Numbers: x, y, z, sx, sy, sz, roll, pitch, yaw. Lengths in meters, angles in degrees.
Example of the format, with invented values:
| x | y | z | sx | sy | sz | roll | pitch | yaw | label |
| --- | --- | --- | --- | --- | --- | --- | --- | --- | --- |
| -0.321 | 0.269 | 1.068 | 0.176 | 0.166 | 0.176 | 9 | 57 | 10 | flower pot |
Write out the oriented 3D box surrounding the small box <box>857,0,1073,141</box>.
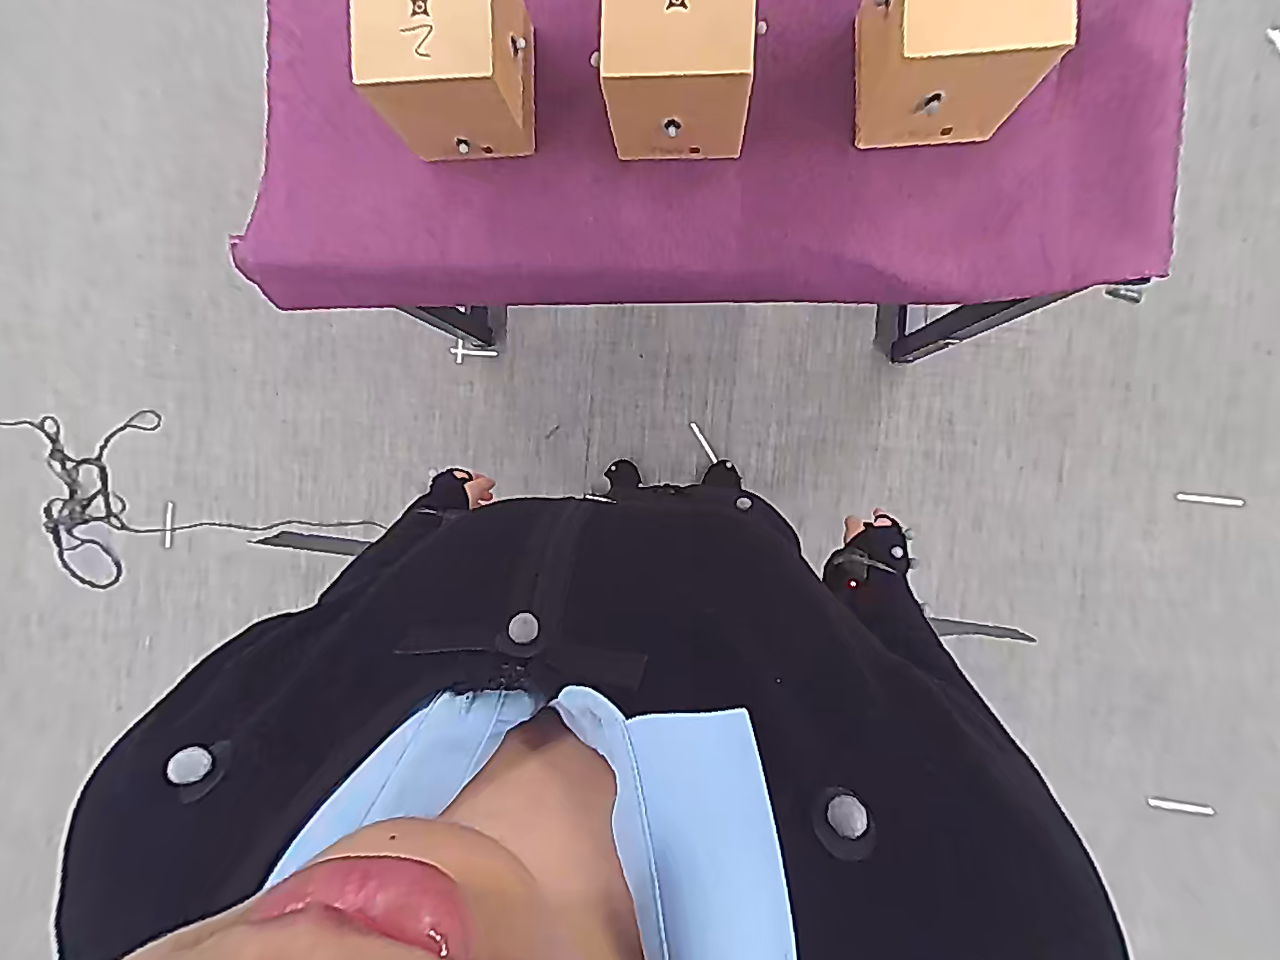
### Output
| x | y | z | sx | sy | sz | roll | pitch | yaw | label |
| --- | --- | --- | --- | --- | --- | --- | --- | --- | --- |
| 0.360 | -0.521 | 0.626 | 0.168 | 0.176 | 0.179 | 0 | 91 | 6 | small box |

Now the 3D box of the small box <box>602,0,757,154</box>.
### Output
| x | y | z | sx | sy | sz | roll | pitch | yaw | label |
| --- | --- | --- | --- | --- | --- | --- | --- | --- | --- |
| 0.051 | -0.524 | 0.654 | 0.168 | 0.176 | 0.179 | 3 | 93 | 4 | small box |
